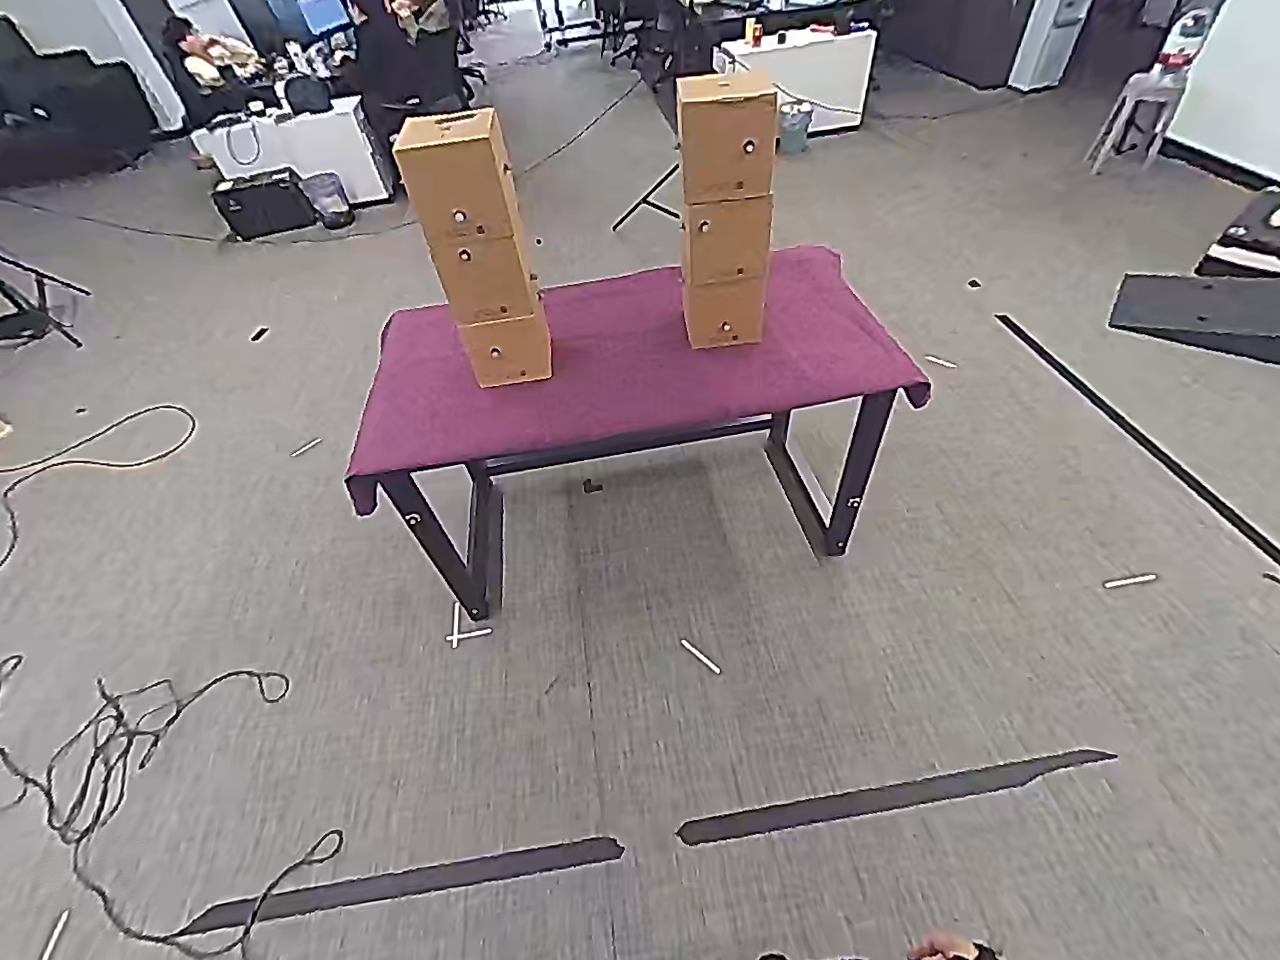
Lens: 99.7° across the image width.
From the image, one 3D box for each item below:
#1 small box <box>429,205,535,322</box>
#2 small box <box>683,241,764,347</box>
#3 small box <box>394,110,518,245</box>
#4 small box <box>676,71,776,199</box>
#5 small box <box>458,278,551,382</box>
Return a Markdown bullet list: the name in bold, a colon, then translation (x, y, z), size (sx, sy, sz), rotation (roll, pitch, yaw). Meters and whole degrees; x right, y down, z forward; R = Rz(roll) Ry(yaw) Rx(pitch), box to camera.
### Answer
- **small box**: translation (-0.320, -0.454, 1.132), size (0.168, 0.176, 0.179), rotation (-10, 47, -1)
- **small box**: translation (0.190, -0.437, 1.274), size (0.168, 0.176, 0.179), rotation (-6, 48, 3)
- **small box**: translation (-0.330, -0.563, 1.008), size (0.168, 0.176, 0.179), rotation (-9, 48, -1)
- **small box**: translation (0.157, -0.649, 1.027), size (0.168, 0.176, 0.179), rotation (-4, 47, 2)
- **small box**: translation (-0.304, -0.341, 1.250), size (0.168, 0.176, 0.179), rotation (-9, 48, -1)
